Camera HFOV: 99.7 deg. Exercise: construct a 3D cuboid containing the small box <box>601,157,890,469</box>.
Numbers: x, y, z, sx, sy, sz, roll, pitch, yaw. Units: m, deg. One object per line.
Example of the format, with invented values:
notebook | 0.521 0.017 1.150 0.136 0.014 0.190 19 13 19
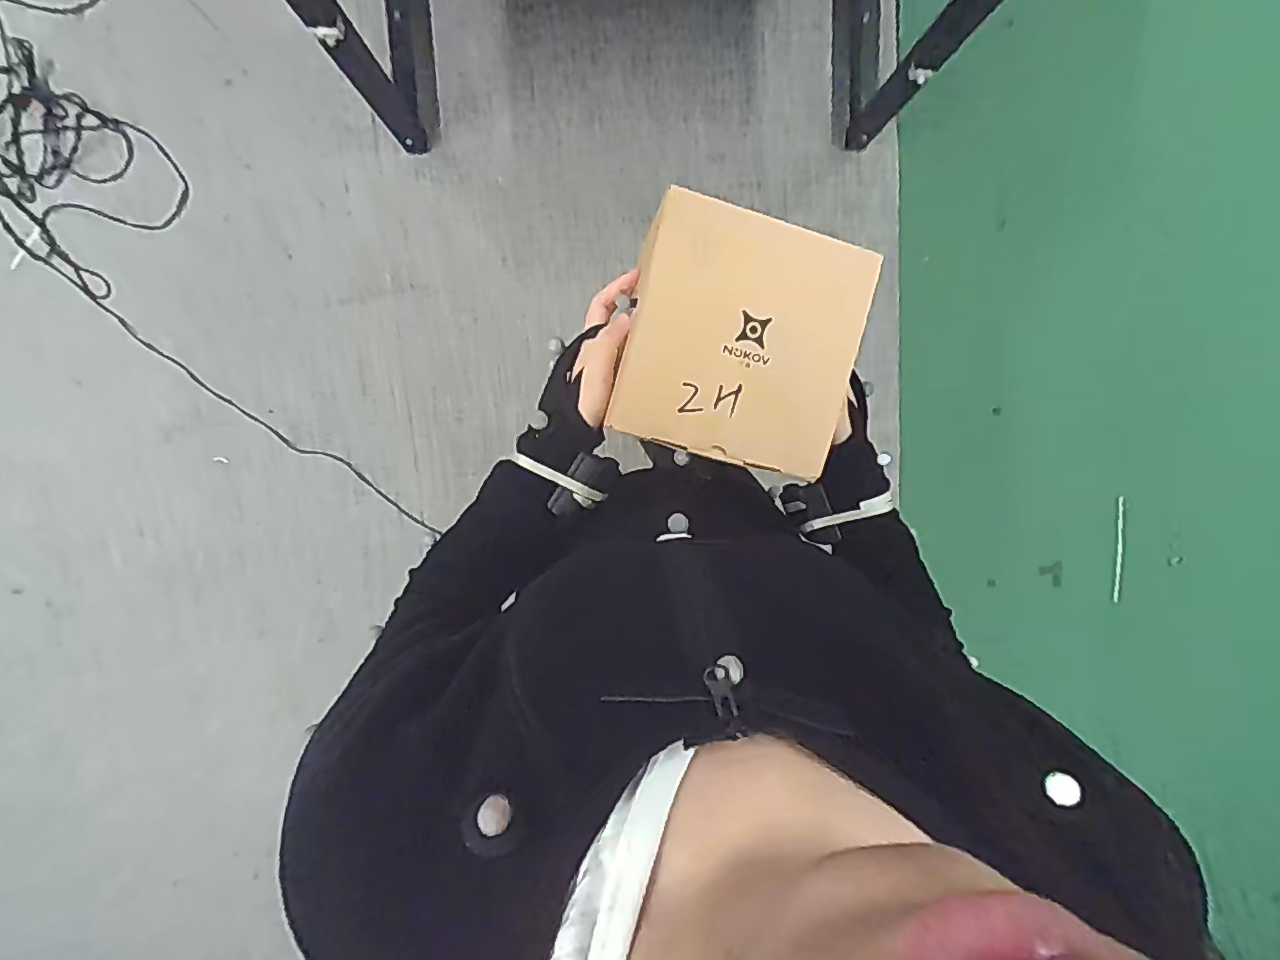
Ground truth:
small box | 0.067 -0.118 0.450 0.168 0.176 0.179 14 94 -8
